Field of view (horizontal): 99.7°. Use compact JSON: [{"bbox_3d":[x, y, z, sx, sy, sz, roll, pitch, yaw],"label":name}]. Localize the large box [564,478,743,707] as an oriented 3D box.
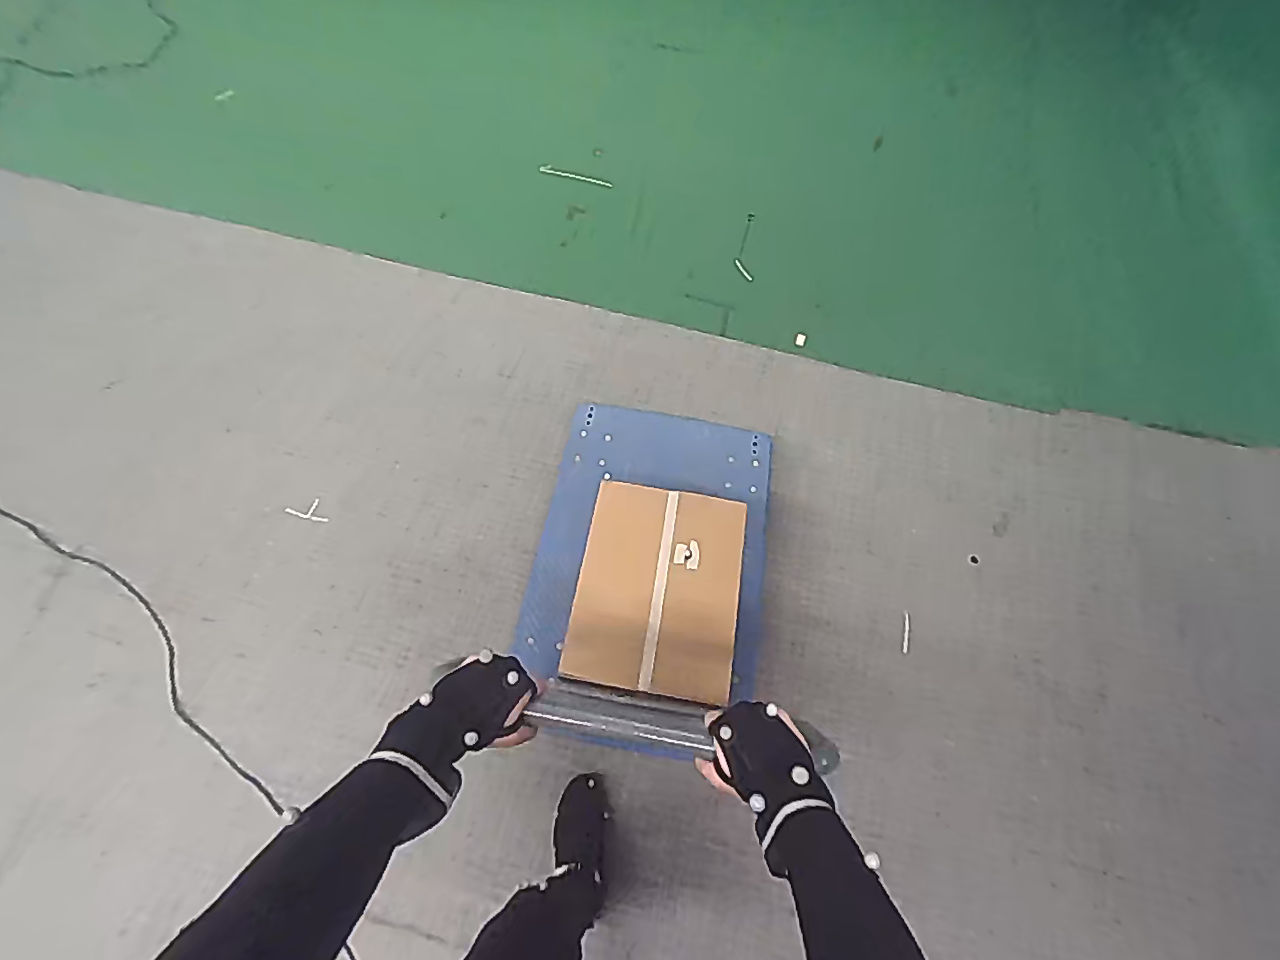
[{"bbox_3d":[0.034,0.260,1.194,0.320,0.320,0.408,10,64,1],"label":"large box"}]
